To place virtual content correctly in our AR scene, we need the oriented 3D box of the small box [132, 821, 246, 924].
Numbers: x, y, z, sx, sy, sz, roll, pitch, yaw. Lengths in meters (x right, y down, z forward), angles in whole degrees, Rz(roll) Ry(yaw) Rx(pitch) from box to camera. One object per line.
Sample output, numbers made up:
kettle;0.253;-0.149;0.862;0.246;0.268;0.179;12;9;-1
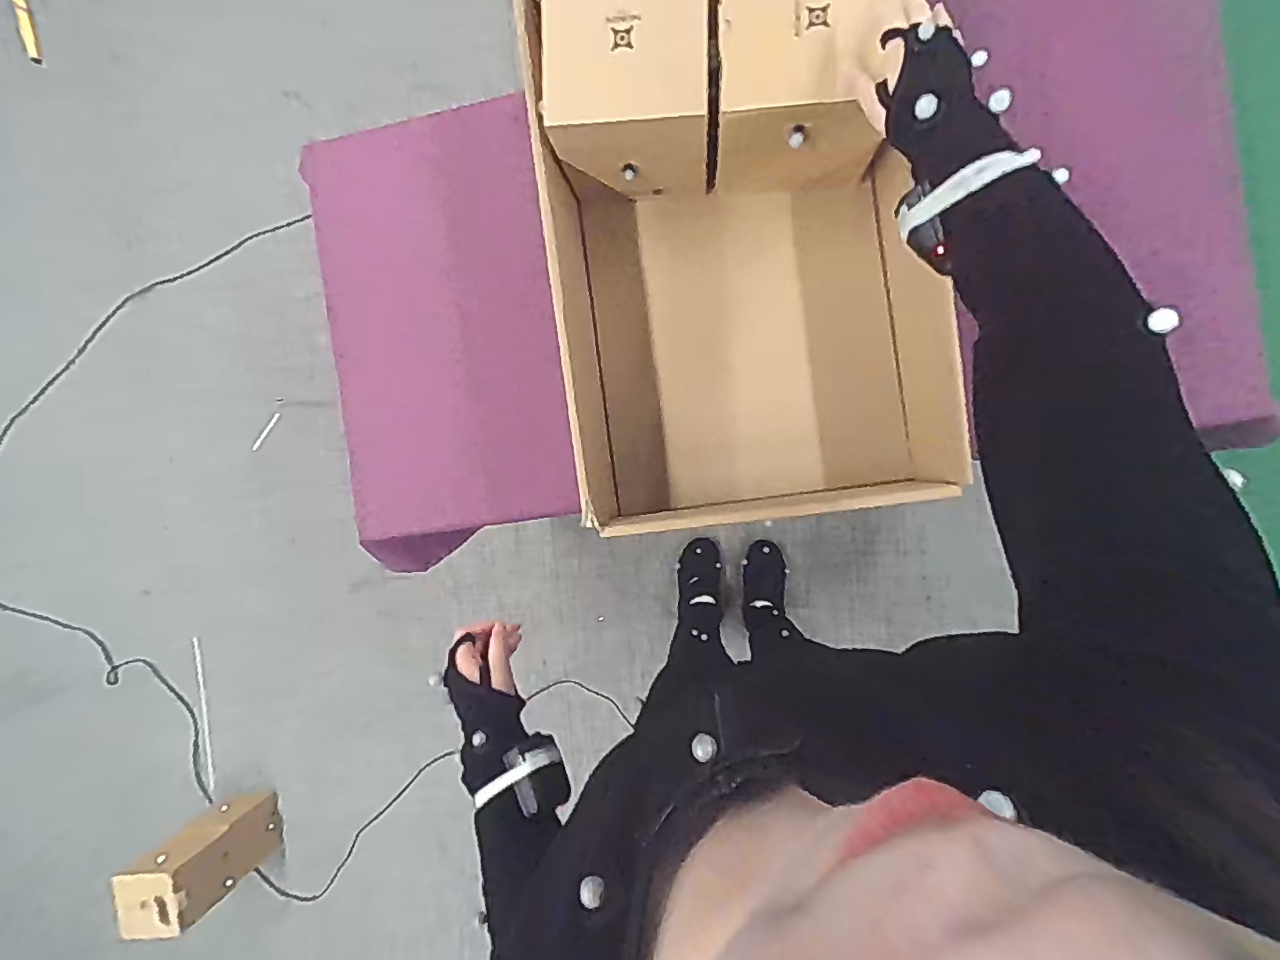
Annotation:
small box;-1.217;1.061;1.474;0.179;0.176;0.168;-9;90;10
